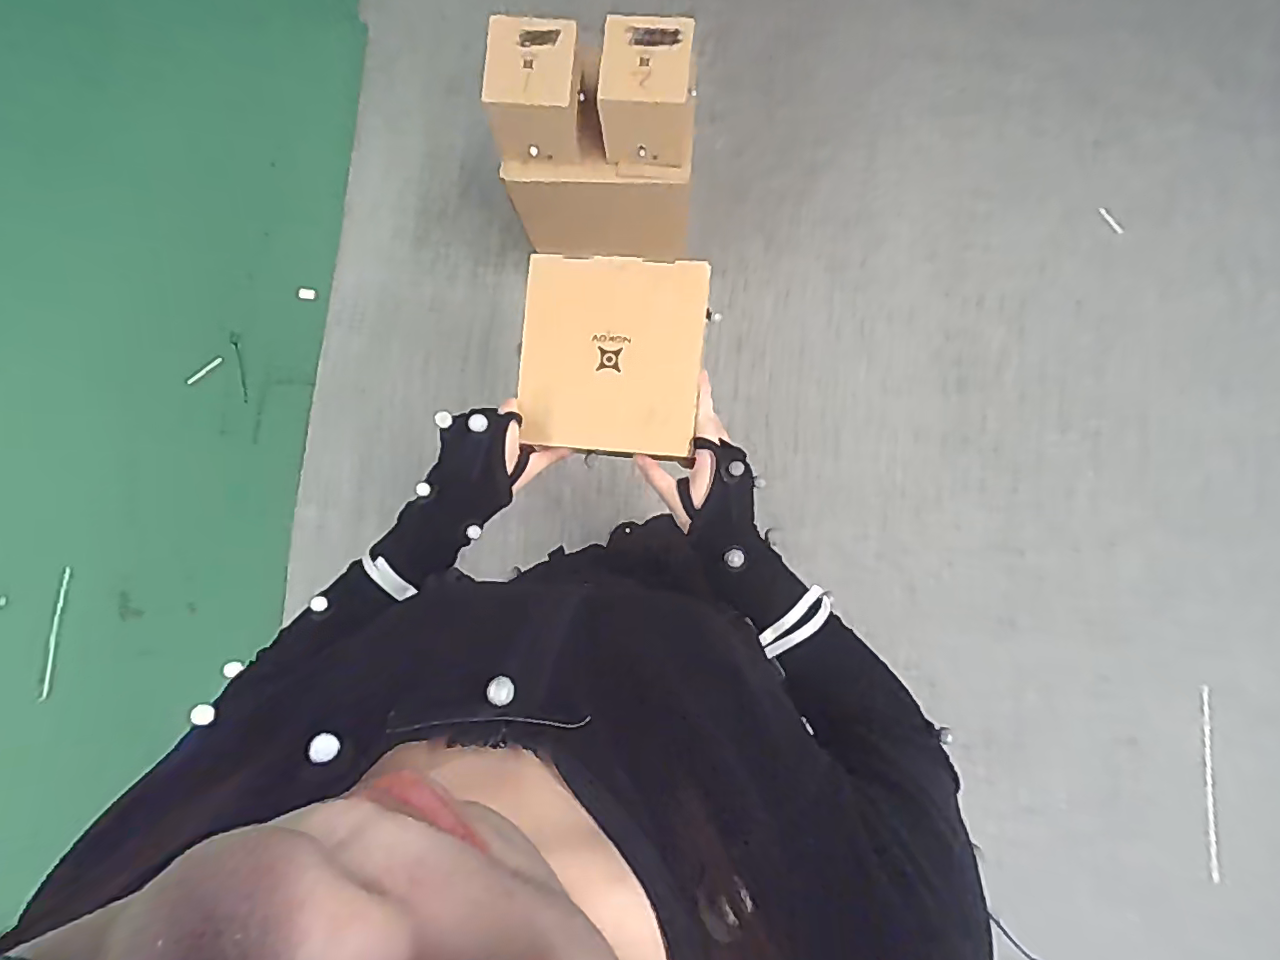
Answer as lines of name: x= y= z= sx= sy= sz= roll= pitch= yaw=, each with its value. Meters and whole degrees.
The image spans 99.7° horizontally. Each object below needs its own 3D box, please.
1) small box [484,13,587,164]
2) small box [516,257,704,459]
small box: x=-0.201 y=-0.778 z=1.086 sx=0.168 sy=0.176 sz=0.179 roll=5 pitch=87 yaw=1
small box: x=-0.020 y=-0.116 z=0.579 sx=0.168 sy=0.176 sz=0.179 roll=5 pitch=90 yaw=6
